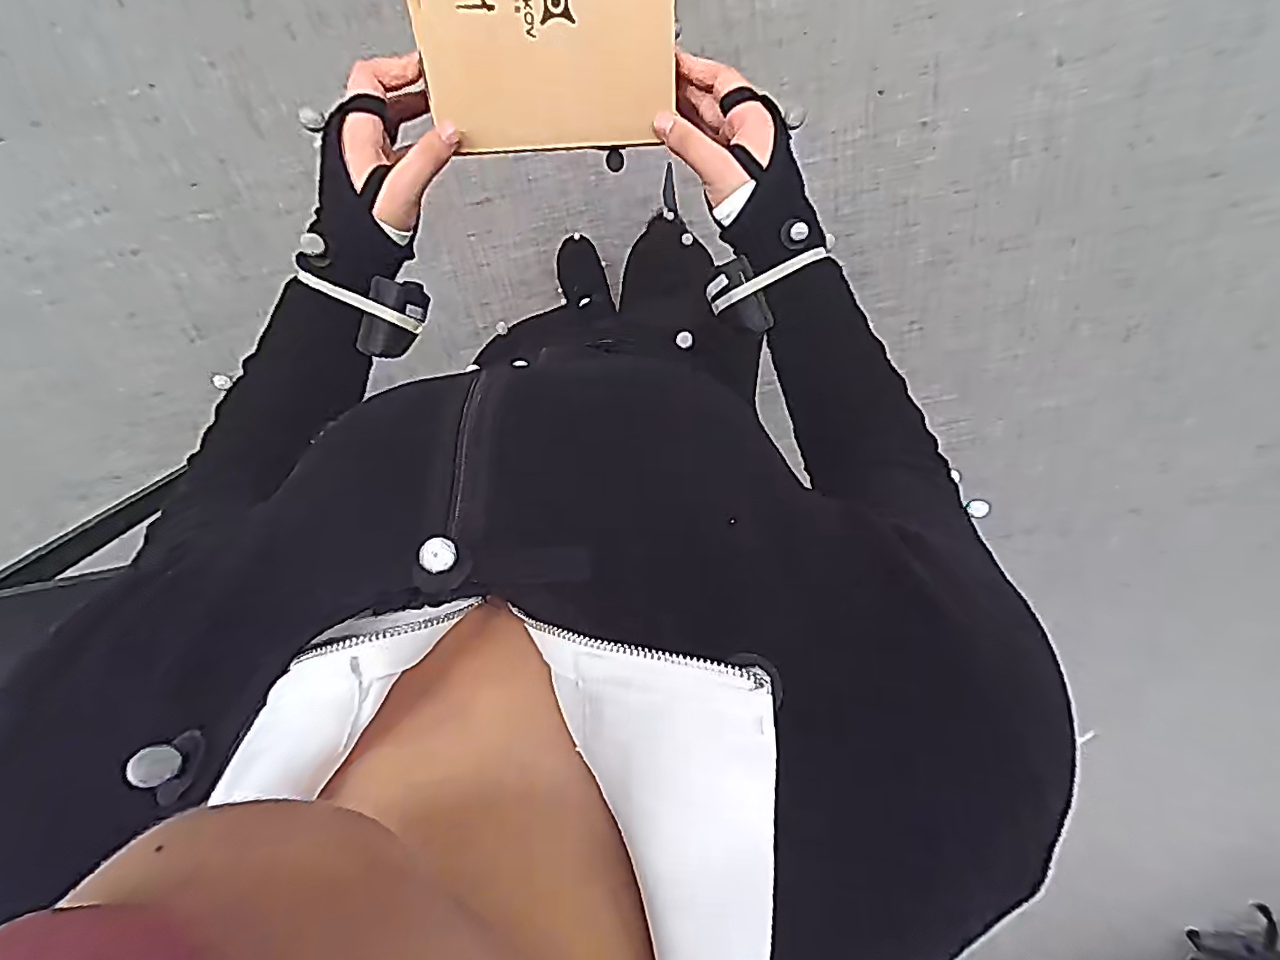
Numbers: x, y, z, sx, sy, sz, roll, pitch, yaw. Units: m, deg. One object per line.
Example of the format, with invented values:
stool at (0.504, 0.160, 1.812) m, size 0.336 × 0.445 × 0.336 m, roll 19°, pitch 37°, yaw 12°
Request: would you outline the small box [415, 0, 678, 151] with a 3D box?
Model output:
small box at (-0.068, -0.360, 0.428) m, size 0.179 × 0.176 × 0.168 m, roll -4°, pitch 121°, yaw -2°
